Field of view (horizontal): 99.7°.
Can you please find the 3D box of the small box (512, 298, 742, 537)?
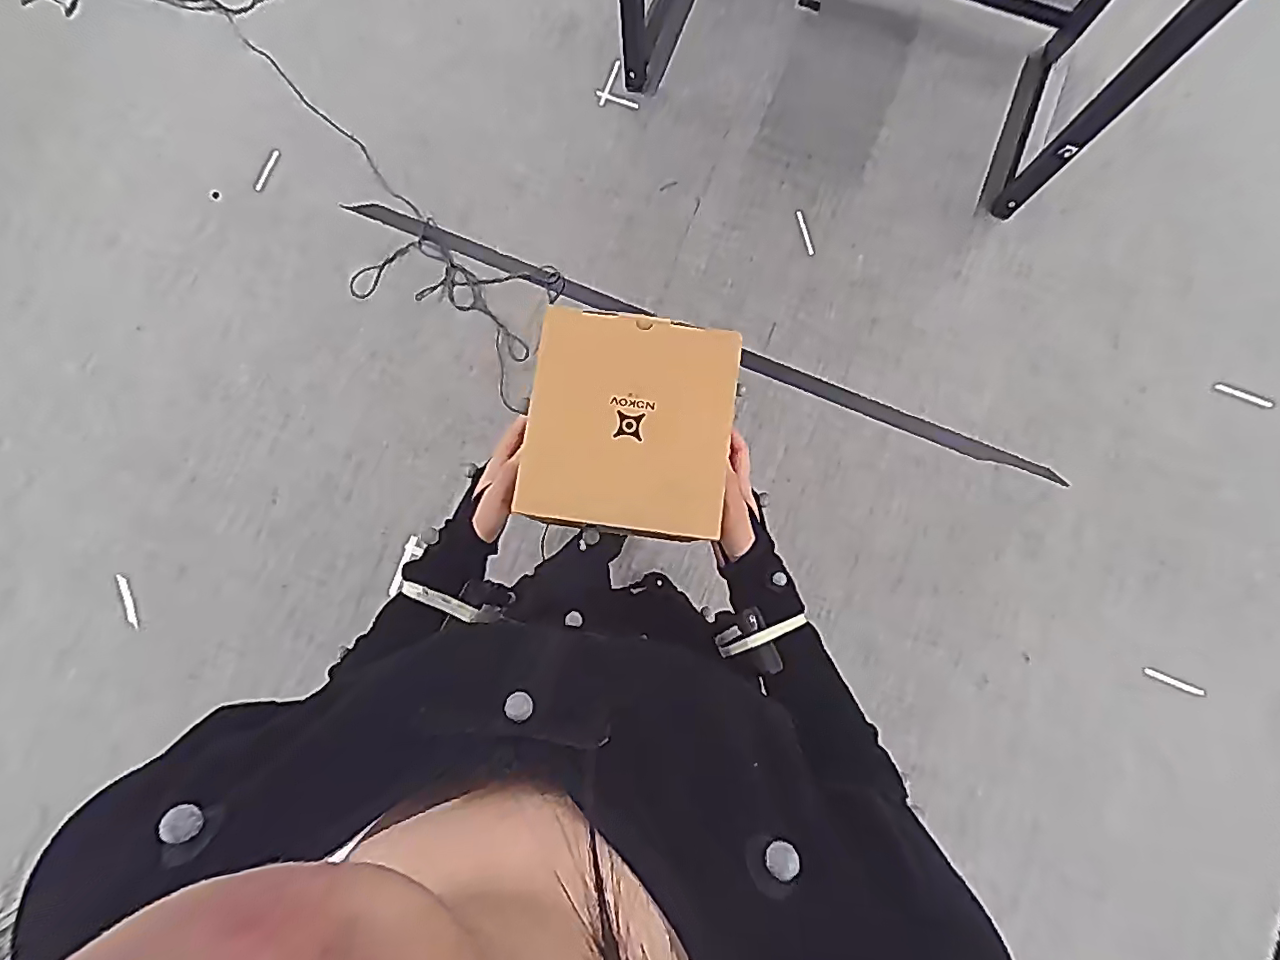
[{"bbox_3d":[-0.010,-0.043,0.510,0.168,0.176,0.179,8,81,-1],"label":"small box"}]
